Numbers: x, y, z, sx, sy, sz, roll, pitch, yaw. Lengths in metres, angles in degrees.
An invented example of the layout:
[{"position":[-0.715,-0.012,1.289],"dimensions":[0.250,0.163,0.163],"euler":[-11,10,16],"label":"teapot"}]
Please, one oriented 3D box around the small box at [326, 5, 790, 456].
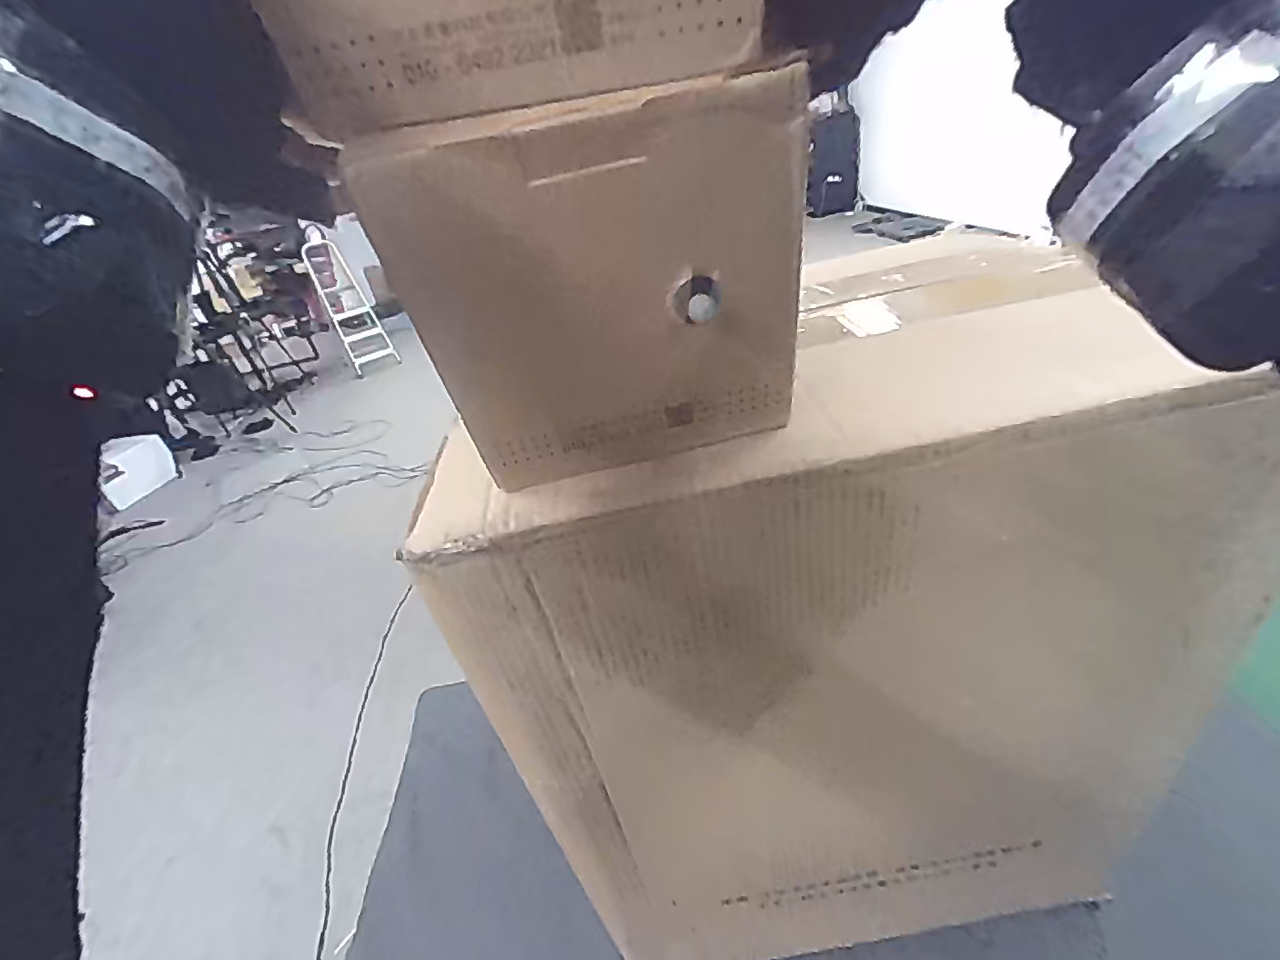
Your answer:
[{"position":[-0.030,-0.132,0.293],"dimensions":[0.168,0.176,0.179],"euler":[-15,48,-2],"label":"small box"}]
